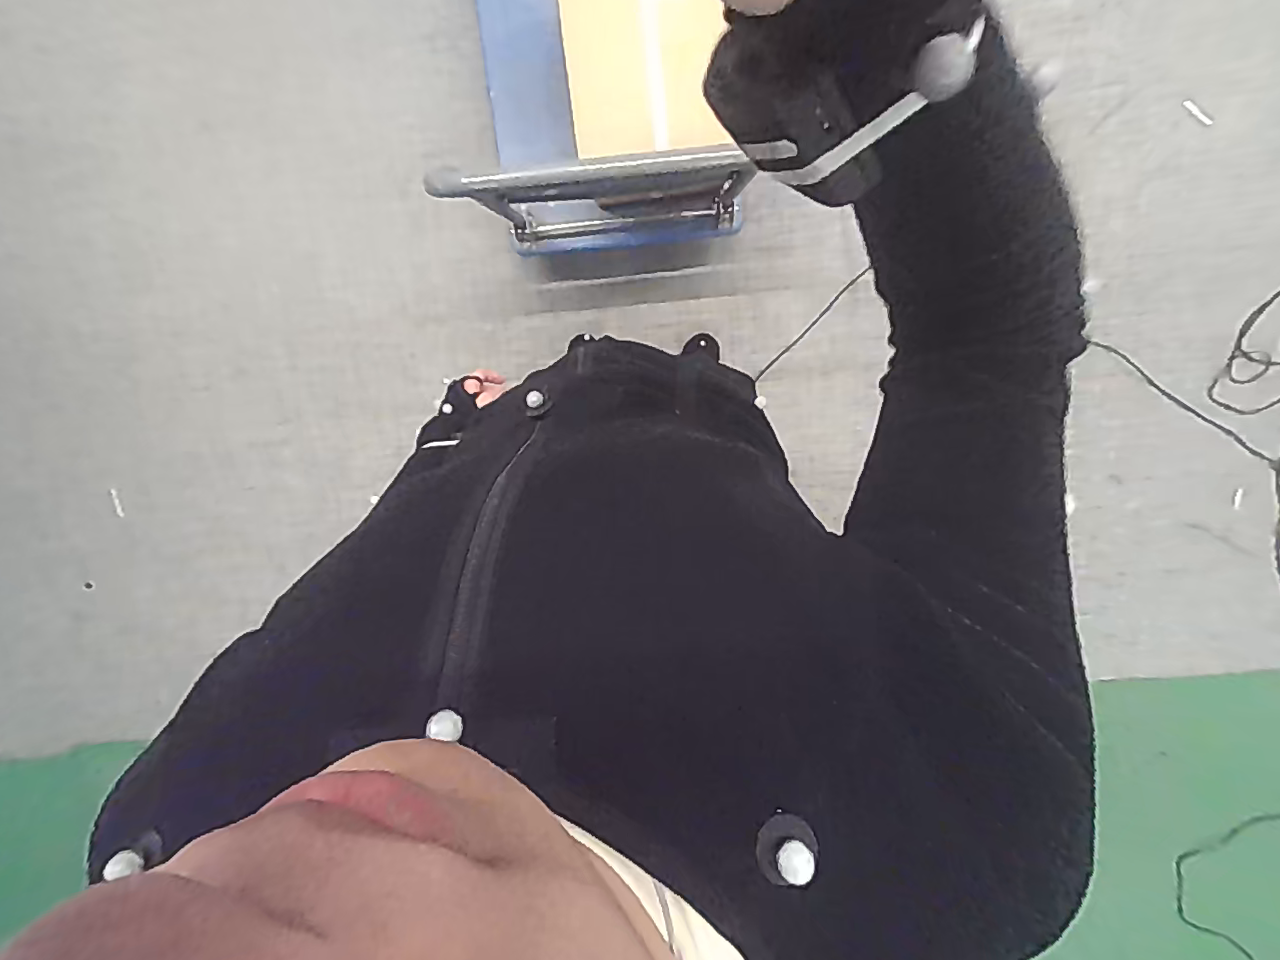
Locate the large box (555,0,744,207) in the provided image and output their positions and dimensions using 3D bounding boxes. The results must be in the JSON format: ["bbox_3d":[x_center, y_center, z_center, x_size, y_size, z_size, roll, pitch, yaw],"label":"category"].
[{"bbox_3d":[0.020,-0.822,1.094,0.320,0.320,0.408,-6,104,2],"label":"large box"}]
